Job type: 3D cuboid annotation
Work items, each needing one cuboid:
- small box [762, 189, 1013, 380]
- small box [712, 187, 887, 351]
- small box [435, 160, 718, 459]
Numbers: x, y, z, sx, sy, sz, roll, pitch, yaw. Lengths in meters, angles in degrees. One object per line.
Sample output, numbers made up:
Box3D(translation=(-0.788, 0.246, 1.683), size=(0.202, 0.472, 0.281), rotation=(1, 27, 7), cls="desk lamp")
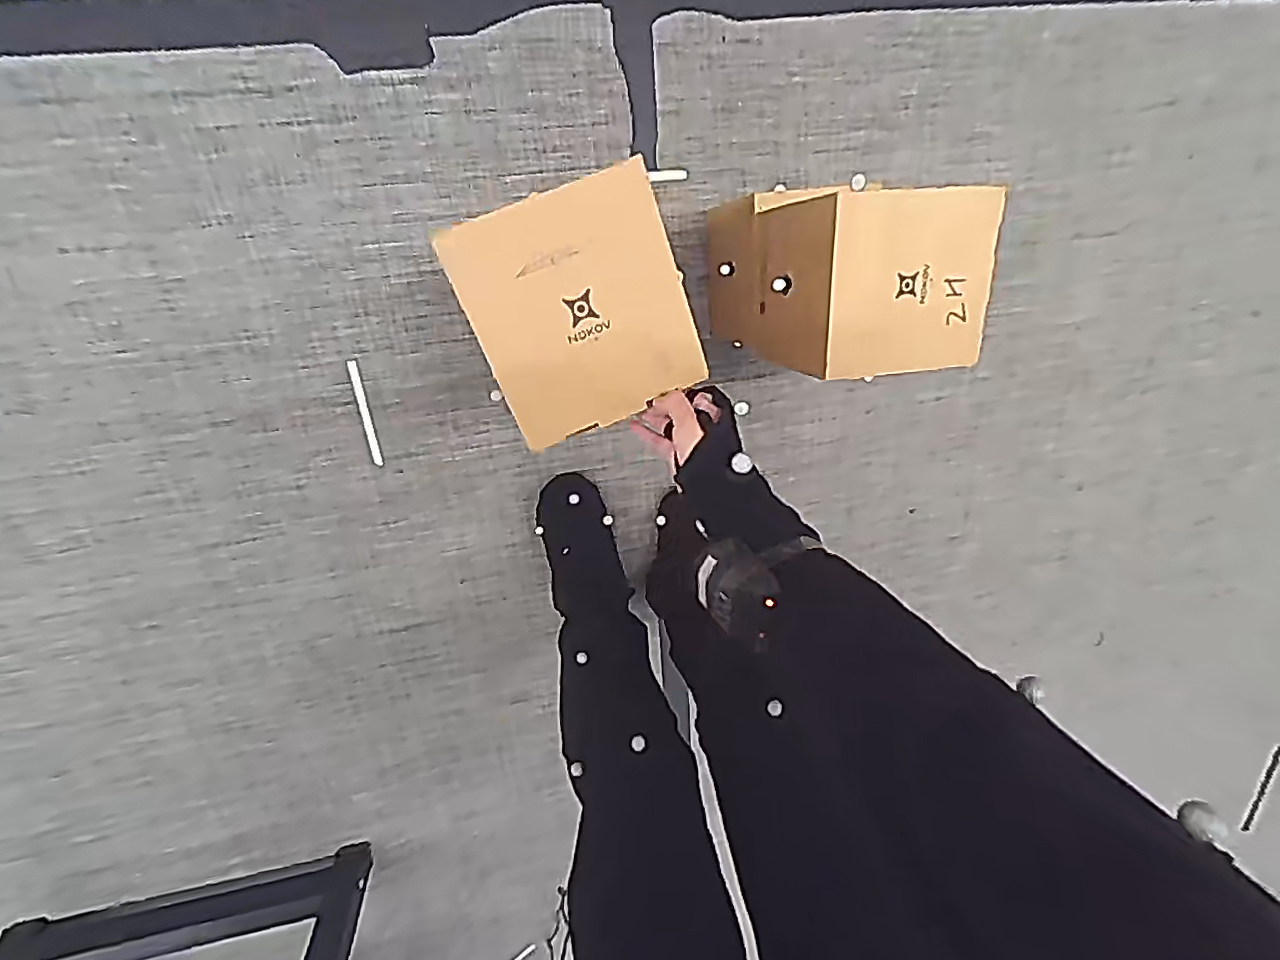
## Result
Box3D(translation=(0.244, -0.207, 0.579), size=(0.179, 0.176, 0.168), rotation=(-8, 112, -11), cls="small box")
Box3D(translation=(0.201, -0.279, 0.723), size=(0.168, 0.176, 0.179), rotation=(-10, 111, -10), cls="small box")
Box3D(translation=(-0.057, -0.147, 0.482), size=(0.168, 0.176, 0.179), rotation=(-26, 112, -6), cls="small box")
